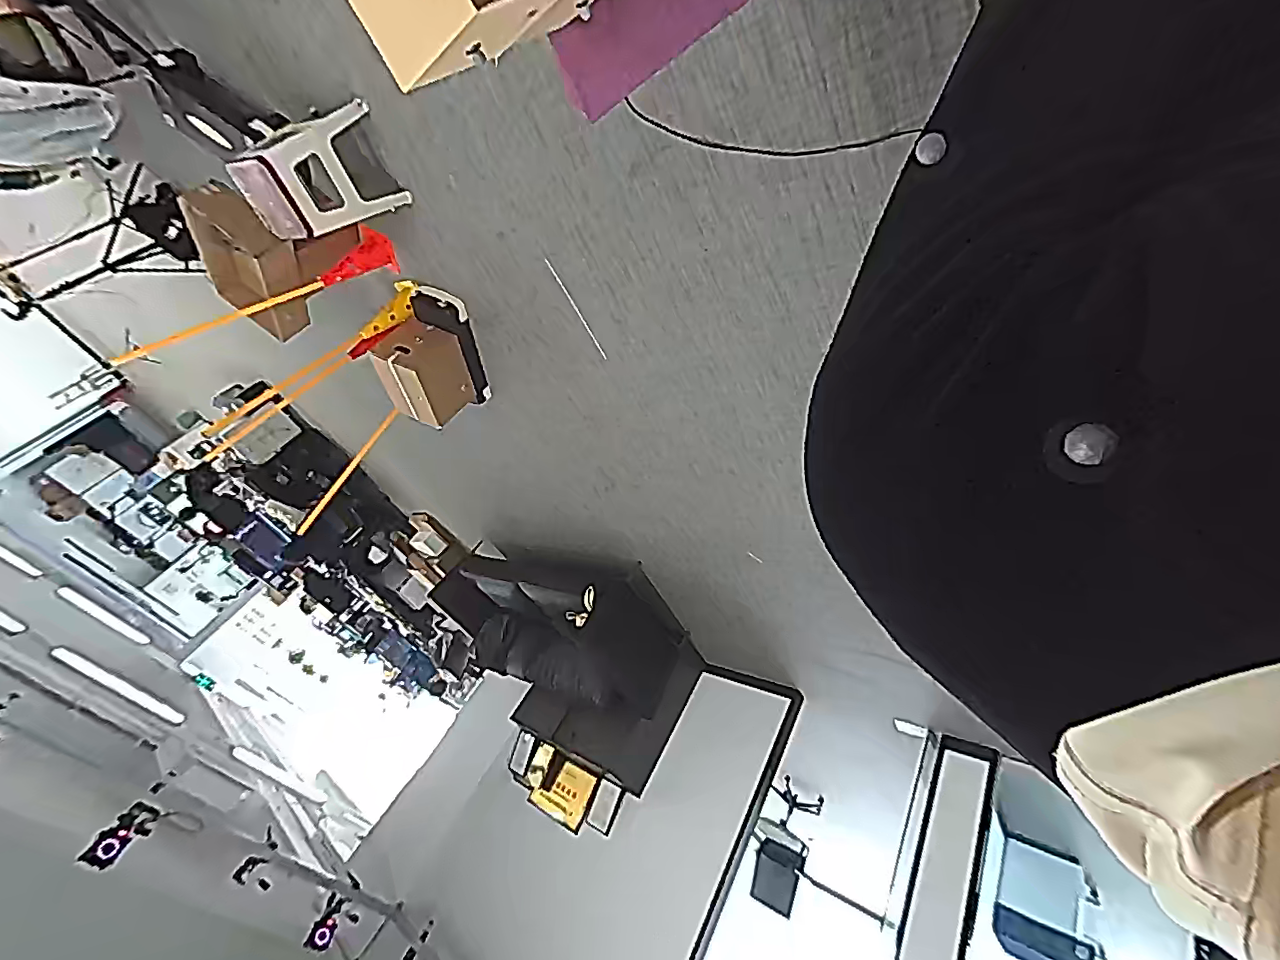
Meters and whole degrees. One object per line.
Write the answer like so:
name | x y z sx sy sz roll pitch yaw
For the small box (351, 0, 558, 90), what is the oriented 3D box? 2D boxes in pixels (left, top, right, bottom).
small box | -0.203 -0.560 0.564 0.168 0.176 0.179 2 133 44

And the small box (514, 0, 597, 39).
small box | -0.127 -0.675 0.649 0.168 0.176 0.179 1 133 44
